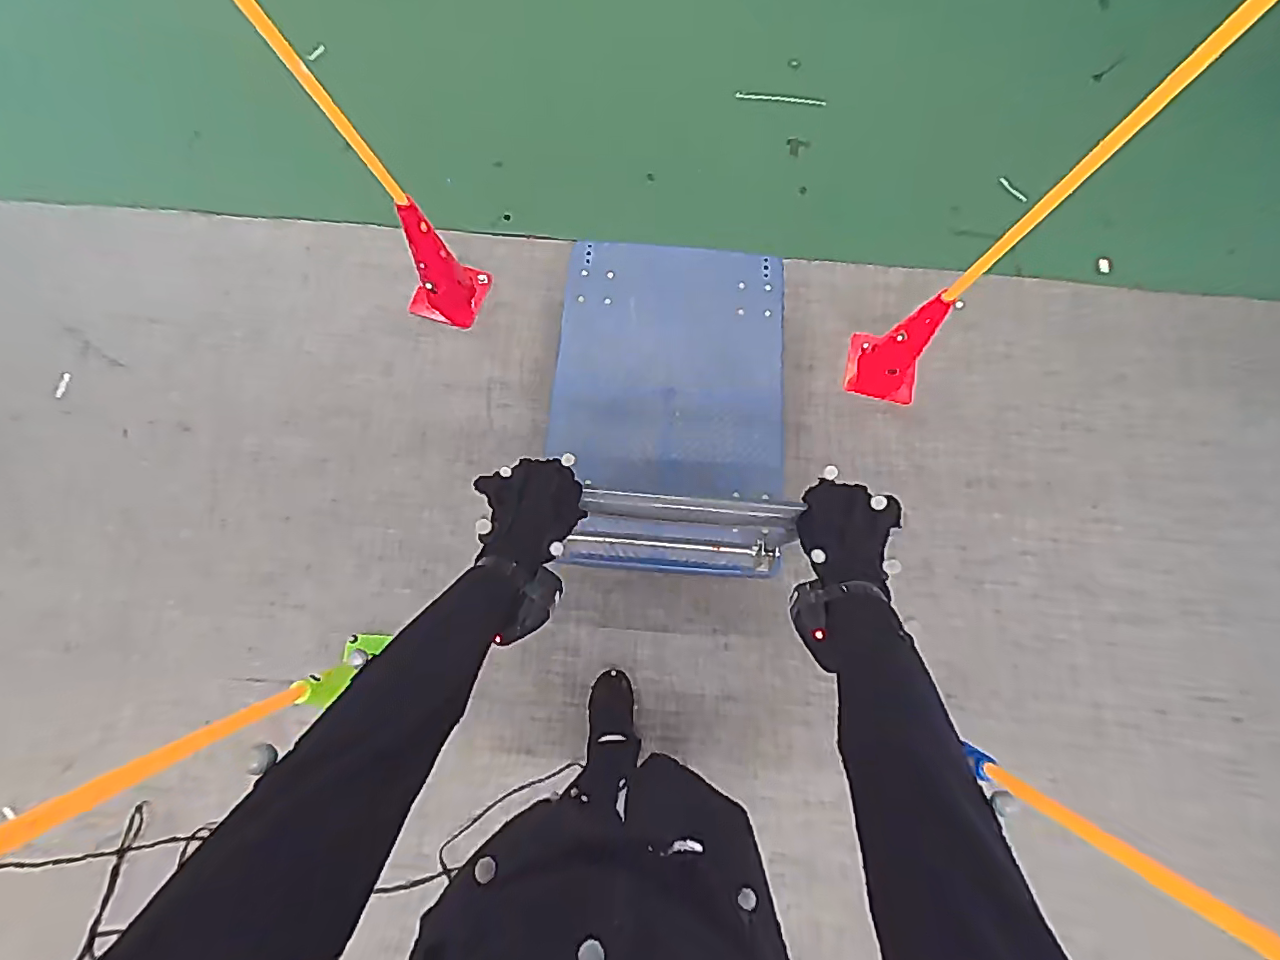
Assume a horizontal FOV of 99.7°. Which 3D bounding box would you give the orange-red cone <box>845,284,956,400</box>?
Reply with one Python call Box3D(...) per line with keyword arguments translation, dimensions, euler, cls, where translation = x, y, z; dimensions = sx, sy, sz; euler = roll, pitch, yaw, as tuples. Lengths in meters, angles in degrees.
Box3D(translation=(0.703, -0.382, 1.400), dimensions=(0.198, 0.360, 0.199), euler=(15, 75, 4), cls="orange-red cone")
